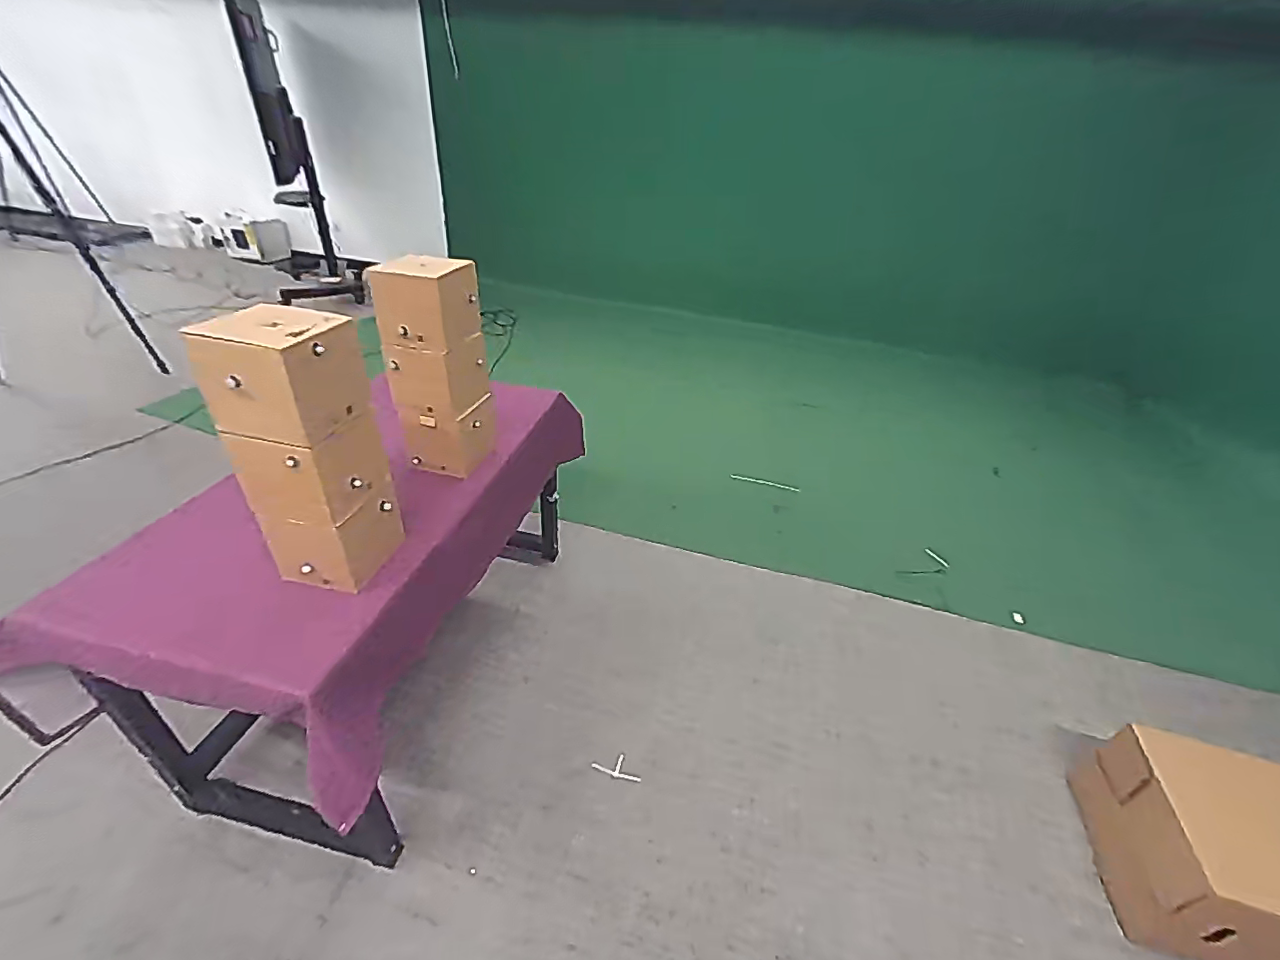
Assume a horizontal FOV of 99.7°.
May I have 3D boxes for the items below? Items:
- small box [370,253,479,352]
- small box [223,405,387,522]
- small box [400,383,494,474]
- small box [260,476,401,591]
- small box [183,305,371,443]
[{"bbox_3d":[-0.488,-0.414,1.255,0.168,0.176,0.179,10,35,9],"label":"small box"},{"bbox_3d":[-0.598,-0.042,0.992,0.179,0.176,0.168,11,34,7],"label":"small box"},{"bbox_3d":[-0.498,-0.135,1.427,0.168,0.176,0.179,12,35,10],"label":"small box"},{"bbox_3d":[-0.604,0.092,1.085,0.168,0.176,0.179,10,34,8],"label":"small box"},{"bbox_3d":[-0.586,-0.178,0.899,0.179,0.176,0.168,10,35,8],"label":"small box"}]
